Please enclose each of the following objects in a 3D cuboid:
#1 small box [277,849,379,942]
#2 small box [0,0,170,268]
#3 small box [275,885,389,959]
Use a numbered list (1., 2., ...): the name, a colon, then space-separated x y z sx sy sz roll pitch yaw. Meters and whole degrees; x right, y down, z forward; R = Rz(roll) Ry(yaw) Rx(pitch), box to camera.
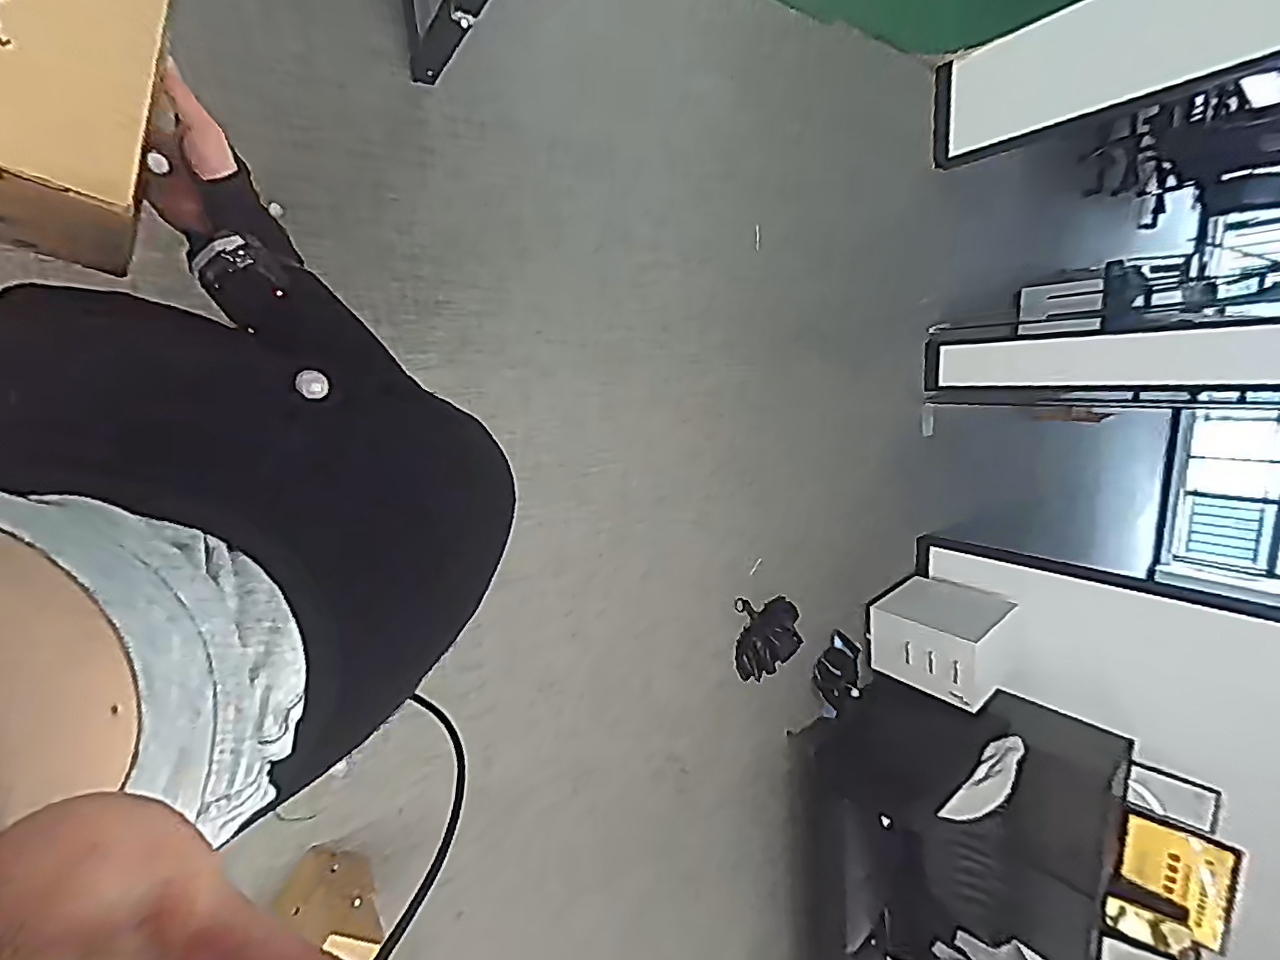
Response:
1. small box: -0.842 1.134 1.449 0.168 0.176 0.179 39 74 -35
2. small box: -0.452 -0.273 0.376 0.168 0.176 0.179 9 85 -45
3. small box: -0.752 1.143 1.311 0.168 0.176 0.179 48 67 -33
